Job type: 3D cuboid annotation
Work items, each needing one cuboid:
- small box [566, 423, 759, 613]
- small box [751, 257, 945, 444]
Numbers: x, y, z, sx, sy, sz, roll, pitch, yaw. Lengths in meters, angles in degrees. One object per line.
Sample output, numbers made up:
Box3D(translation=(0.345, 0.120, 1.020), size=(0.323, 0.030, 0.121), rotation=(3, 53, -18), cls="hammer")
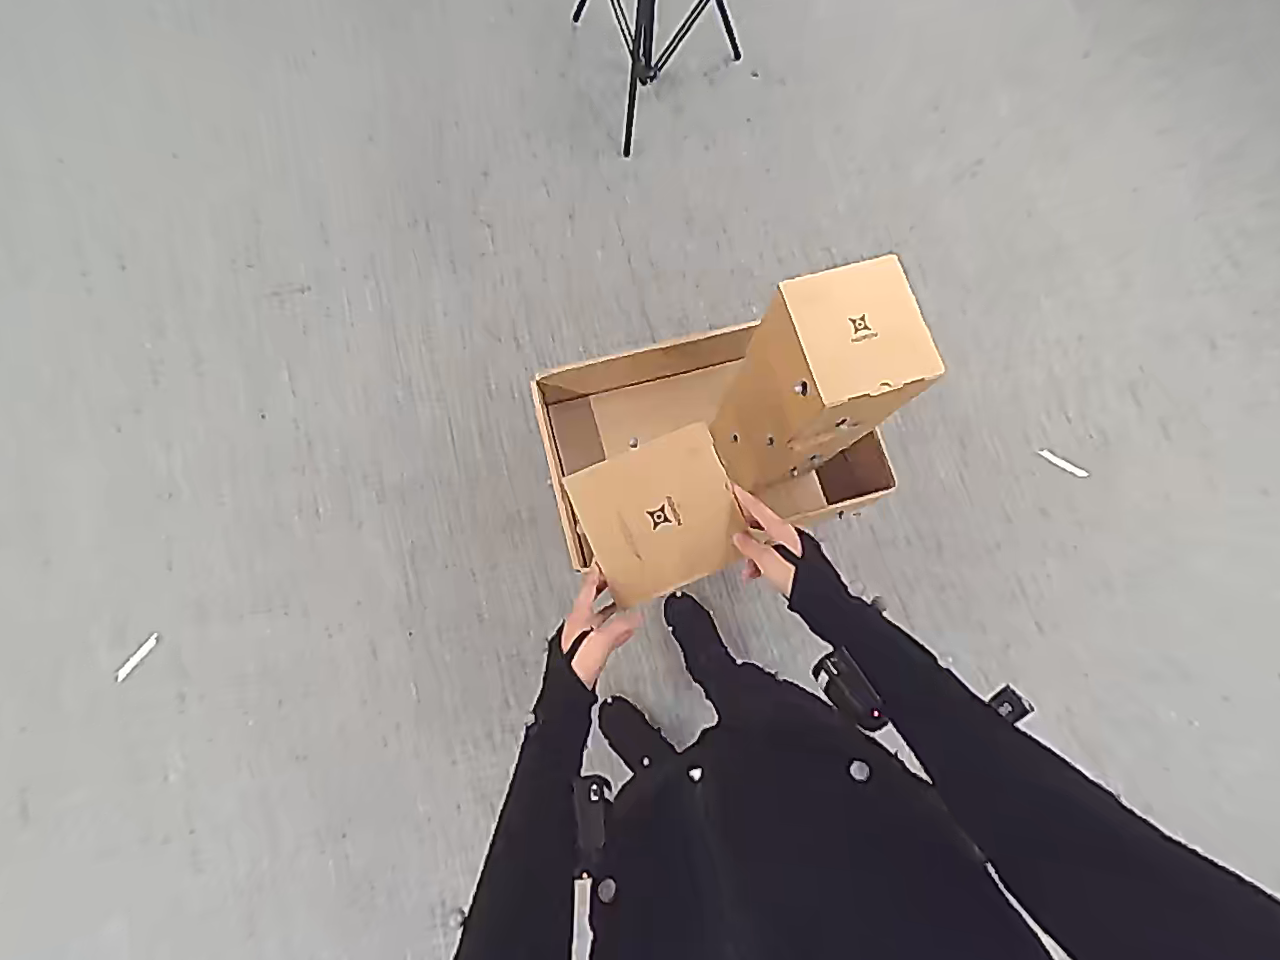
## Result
Box3D(translation=(0.020, 0.041, 0.680), size=(0.179, 0.176, 0.168), rotation=(-23, 90, -3), cls="small box")
Box3D(translation=(0.270, -0.170, 0.749), size=(0.168, 0.176, 0.179), rotation=(-16, 79, -5), cls="small box")
